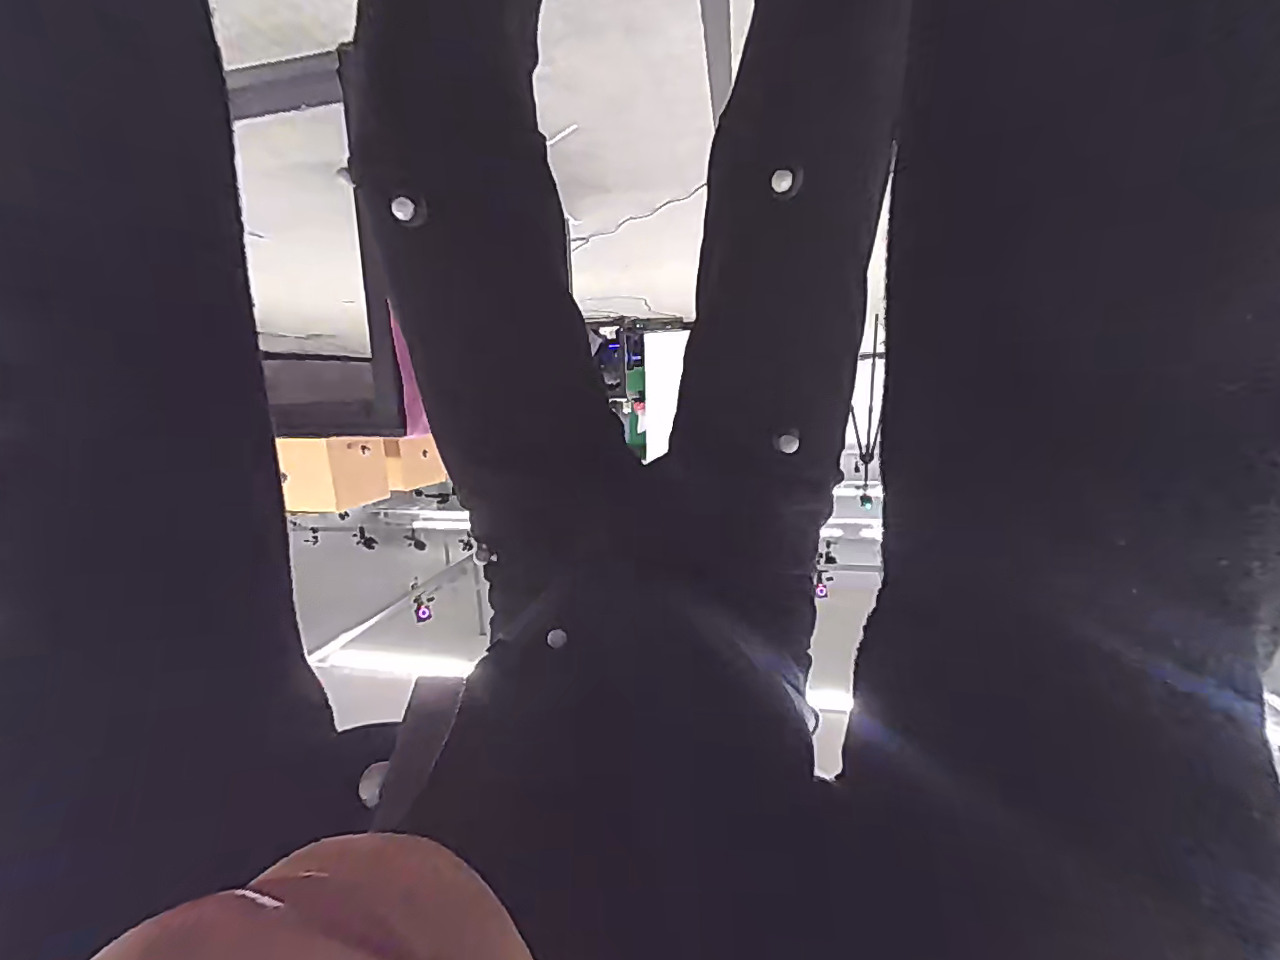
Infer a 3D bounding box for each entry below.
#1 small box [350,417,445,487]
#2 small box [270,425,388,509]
[{"bbox_3d":[-0.663,-0.081,1.478,0.179,0.176,0.168,2,-169,18],"label":"small box"},{"bbox_3d":[-0.716,-0.038,1.249,0.179,0.176,0.168,1,-167,16],"label":"small box"}]
